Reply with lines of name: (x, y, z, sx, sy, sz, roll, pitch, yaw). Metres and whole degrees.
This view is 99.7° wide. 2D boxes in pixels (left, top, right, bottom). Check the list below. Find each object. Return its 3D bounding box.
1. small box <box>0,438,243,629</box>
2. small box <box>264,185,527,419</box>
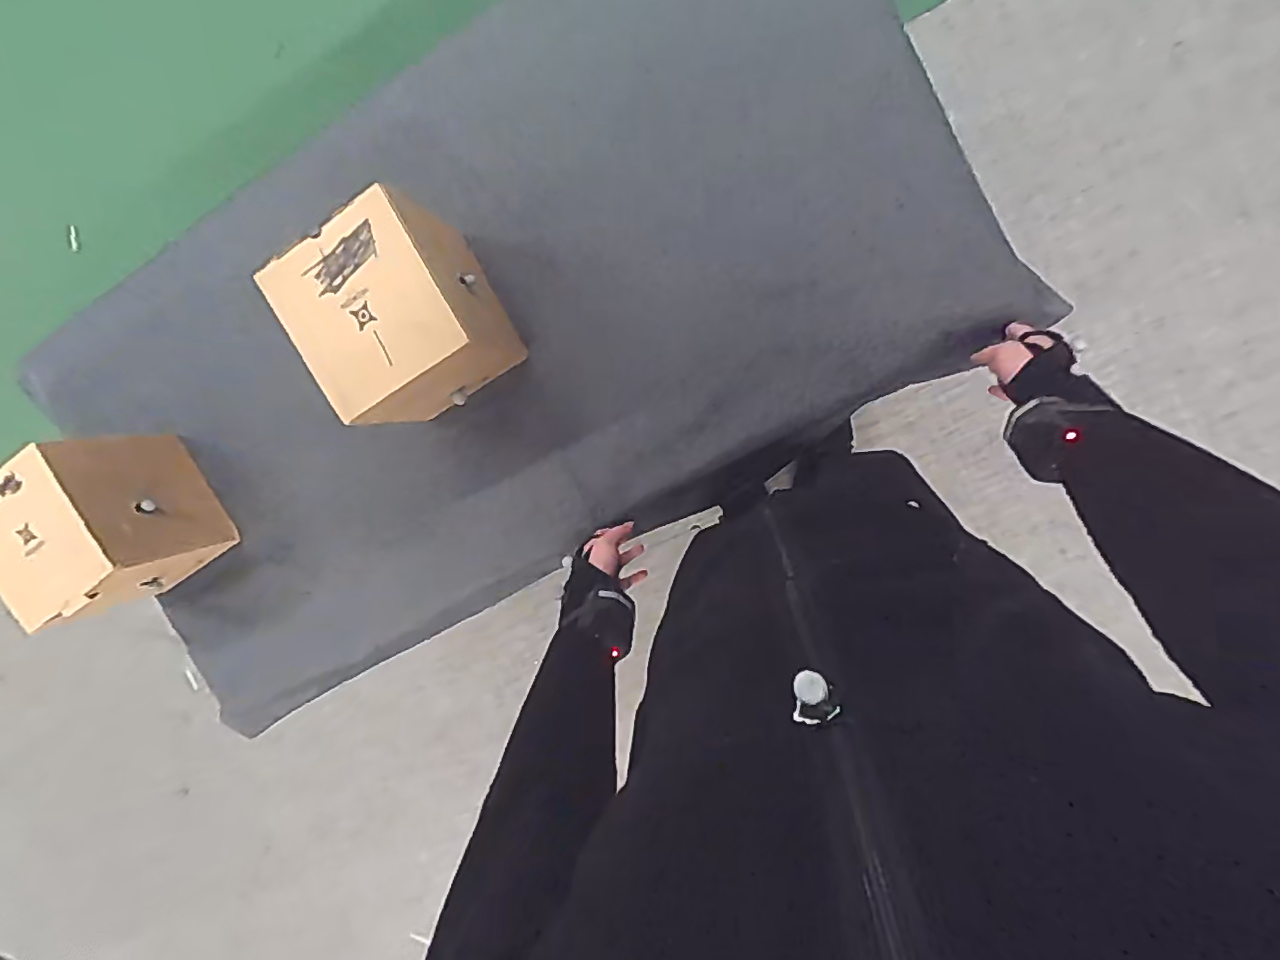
small box: (-0.686, 0.058, 0.714, 0.168, 0.176, 0.179, -31, 92, 11)
small box: (-0.259, -0.182, 0.613, 0.168, 0.176, 0.179, -29, 93, 12)
